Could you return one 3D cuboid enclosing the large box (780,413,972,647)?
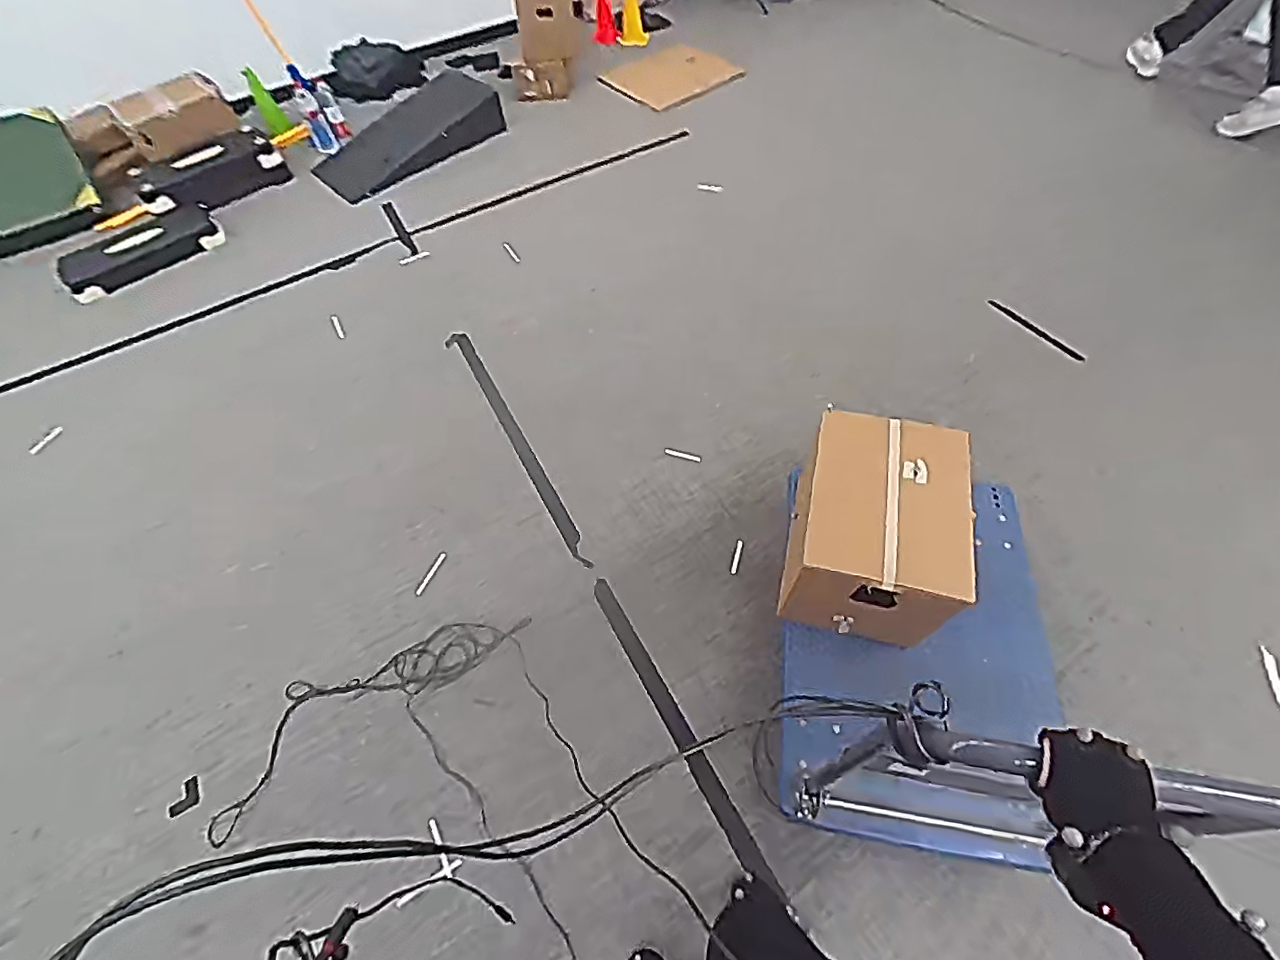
[{"bbox_3d":[0.513,0.116,1.234,0.320,0.320,0.408,12,58,10],"label":"large box"}]
